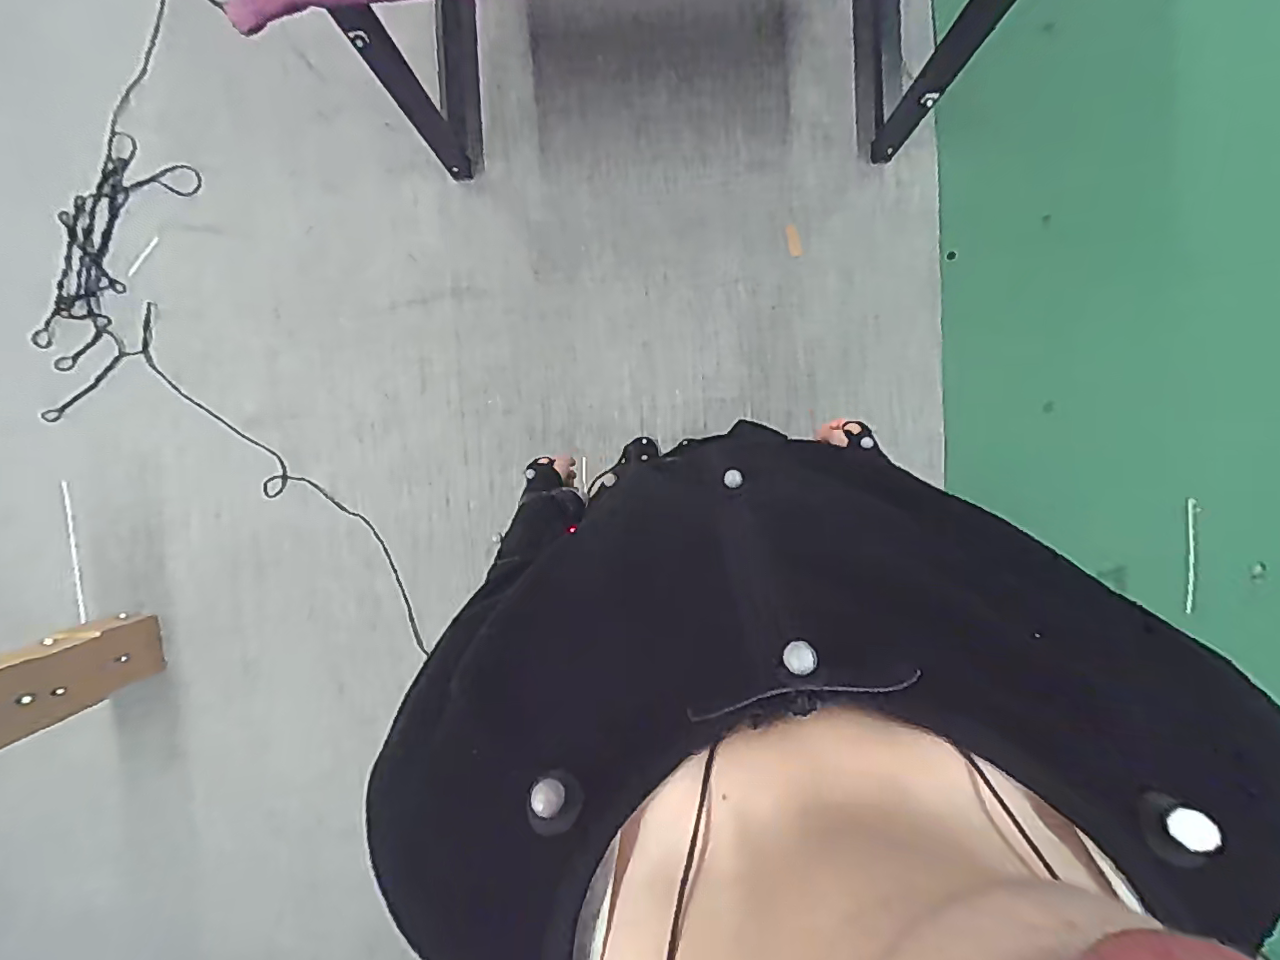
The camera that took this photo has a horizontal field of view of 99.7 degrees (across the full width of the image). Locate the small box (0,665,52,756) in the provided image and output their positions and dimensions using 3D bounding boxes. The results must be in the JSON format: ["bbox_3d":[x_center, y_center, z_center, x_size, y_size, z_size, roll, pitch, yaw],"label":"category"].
[{"bbox_3d":[-1.476,0.521,1.196,0.168,0.176,0.179,-6,92,2],"label":"small box"}]

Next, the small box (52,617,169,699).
[{"bbox_3d":[-1.478,0.500,1.522,0.168,0.176,0.179,-5,92,3],"label":"small box"}]

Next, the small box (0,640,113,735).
[{"bbox_3d":[-1.485,0.518,1.359,0.168,0.176,0.179,-4,93,1],"label":"small box"}]
